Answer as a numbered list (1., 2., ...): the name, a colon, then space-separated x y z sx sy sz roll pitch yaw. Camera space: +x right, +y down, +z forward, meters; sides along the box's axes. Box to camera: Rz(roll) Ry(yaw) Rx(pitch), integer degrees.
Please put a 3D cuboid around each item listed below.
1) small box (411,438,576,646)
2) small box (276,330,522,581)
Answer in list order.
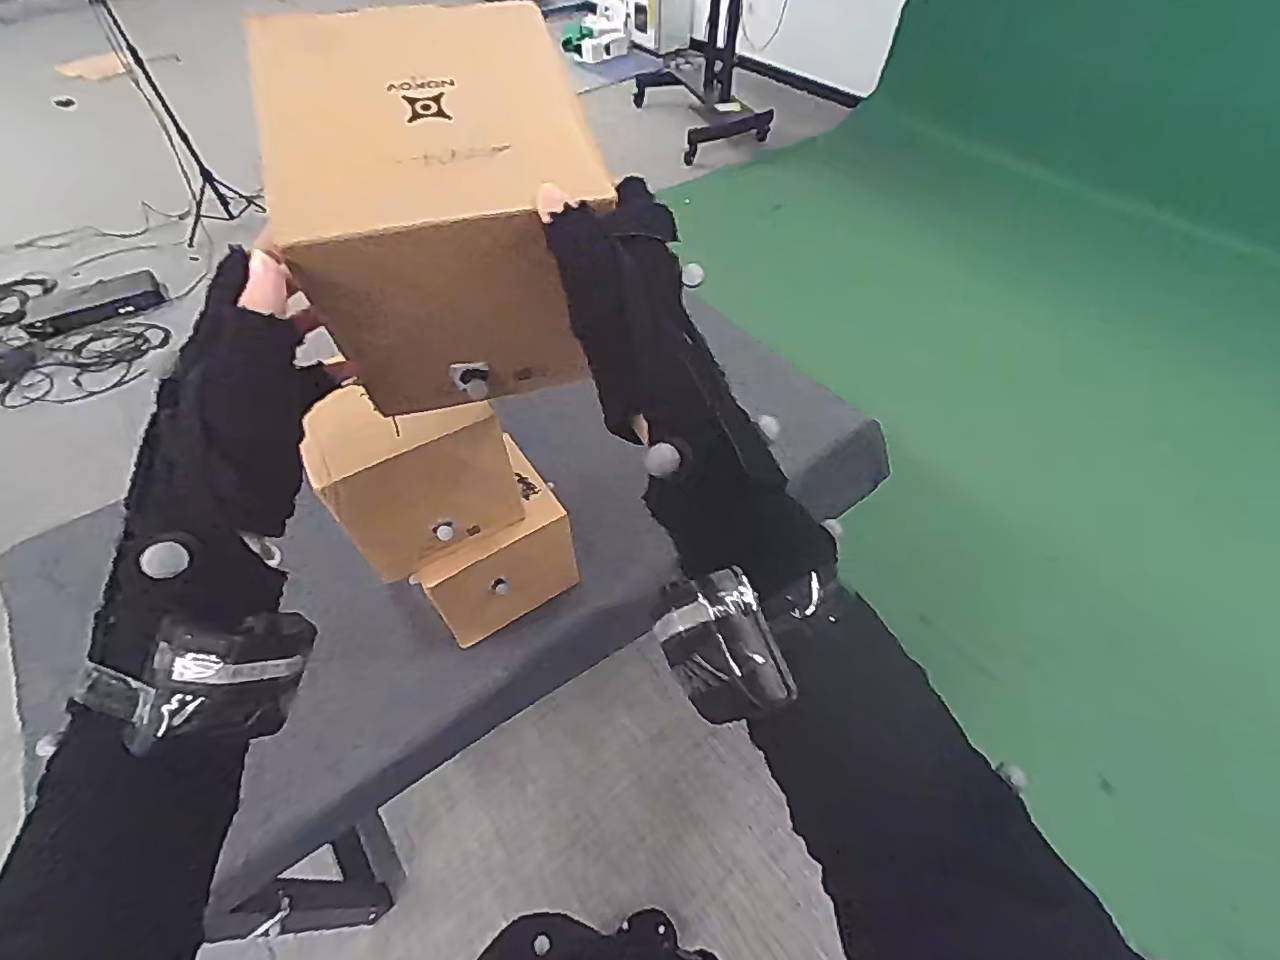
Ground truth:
1. small box: -0.202 0.084 0.704 0.179 0.176 0.168 -29 56 -20
2. small box: -0.249 -0.026 0.584 0.168 0.176 0.179 -29 54 -20
